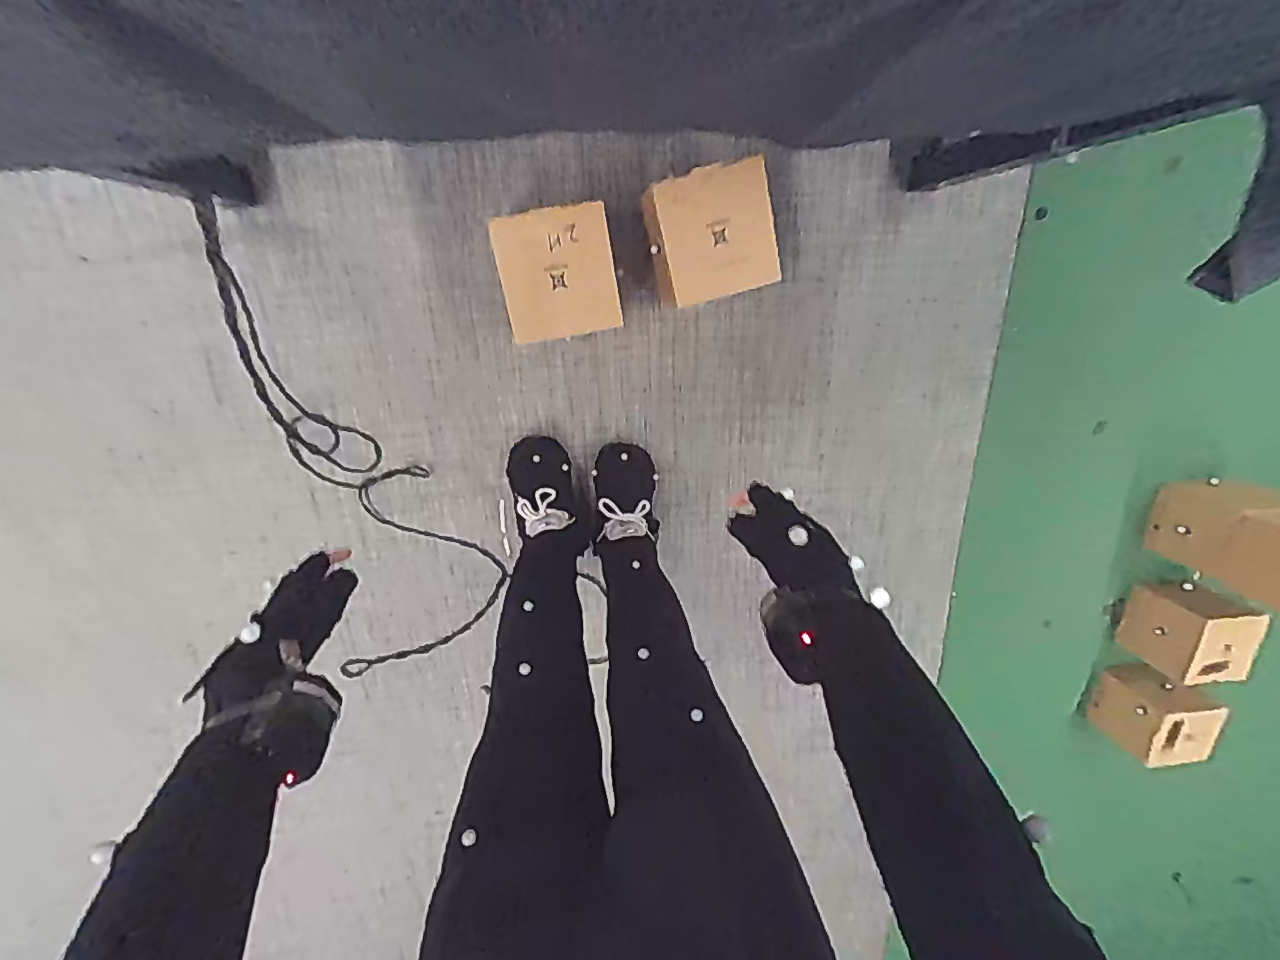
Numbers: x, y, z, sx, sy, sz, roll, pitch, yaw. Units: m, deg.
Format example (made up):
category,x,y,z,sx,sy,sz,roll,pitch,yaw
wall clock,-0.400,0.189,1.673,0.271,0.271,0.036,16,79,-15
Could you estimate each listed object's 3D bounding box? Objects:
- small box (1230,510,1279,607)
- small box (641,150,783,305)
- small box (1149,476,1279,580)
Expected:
category,x,y,z,sx,sy,sz,roll,pitch,yaw
small box,1.301,0.159,1.029,0.168,0.176,0.179,-7,111,-5
small box,0.105,-0.382,0.846,0.168,0.176,0.179,-16,111,-1
small box,1.280,0.099,1.179,0.179,0.176,0.168,-5,111,-5
